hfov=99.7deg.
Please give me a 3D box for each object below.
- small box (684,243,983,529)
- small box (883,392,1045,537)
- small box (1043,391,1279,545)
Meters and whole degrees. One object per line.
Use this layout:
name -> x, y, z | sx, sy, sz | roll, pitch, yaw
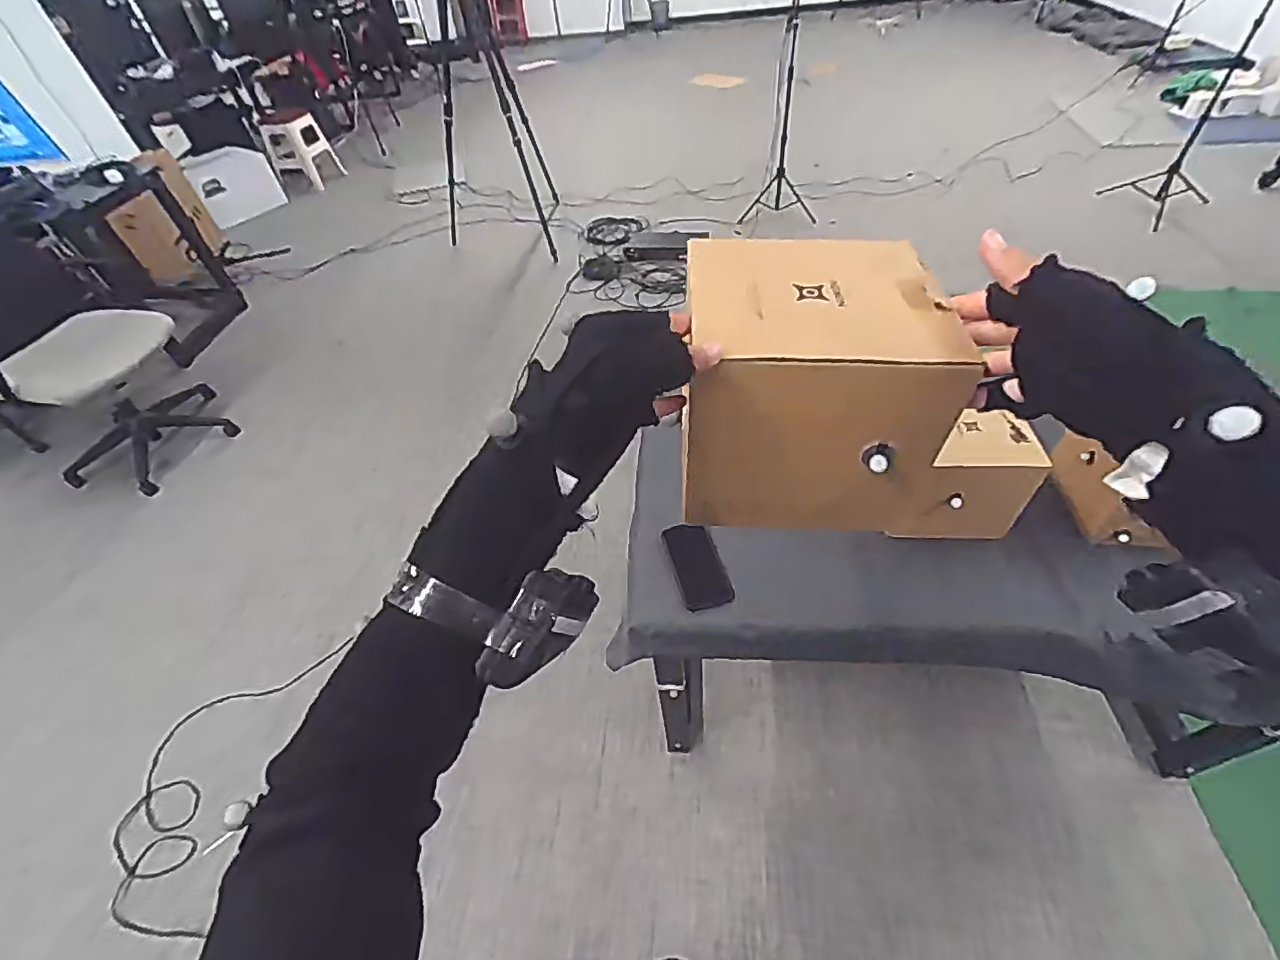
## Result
small box -> 0.128, -0.073, 0.442 | 0.179, 0.176, 0.168 | 0, 48, 3
small box -> 0.481, -0.021, 0.857 | 0.179, 0.176, 0.168 | 0, 48, 6
small box -> 0.765, -0.016, 0.822 | 0.168, 0.176, 0.179 | 2, 48, 8
